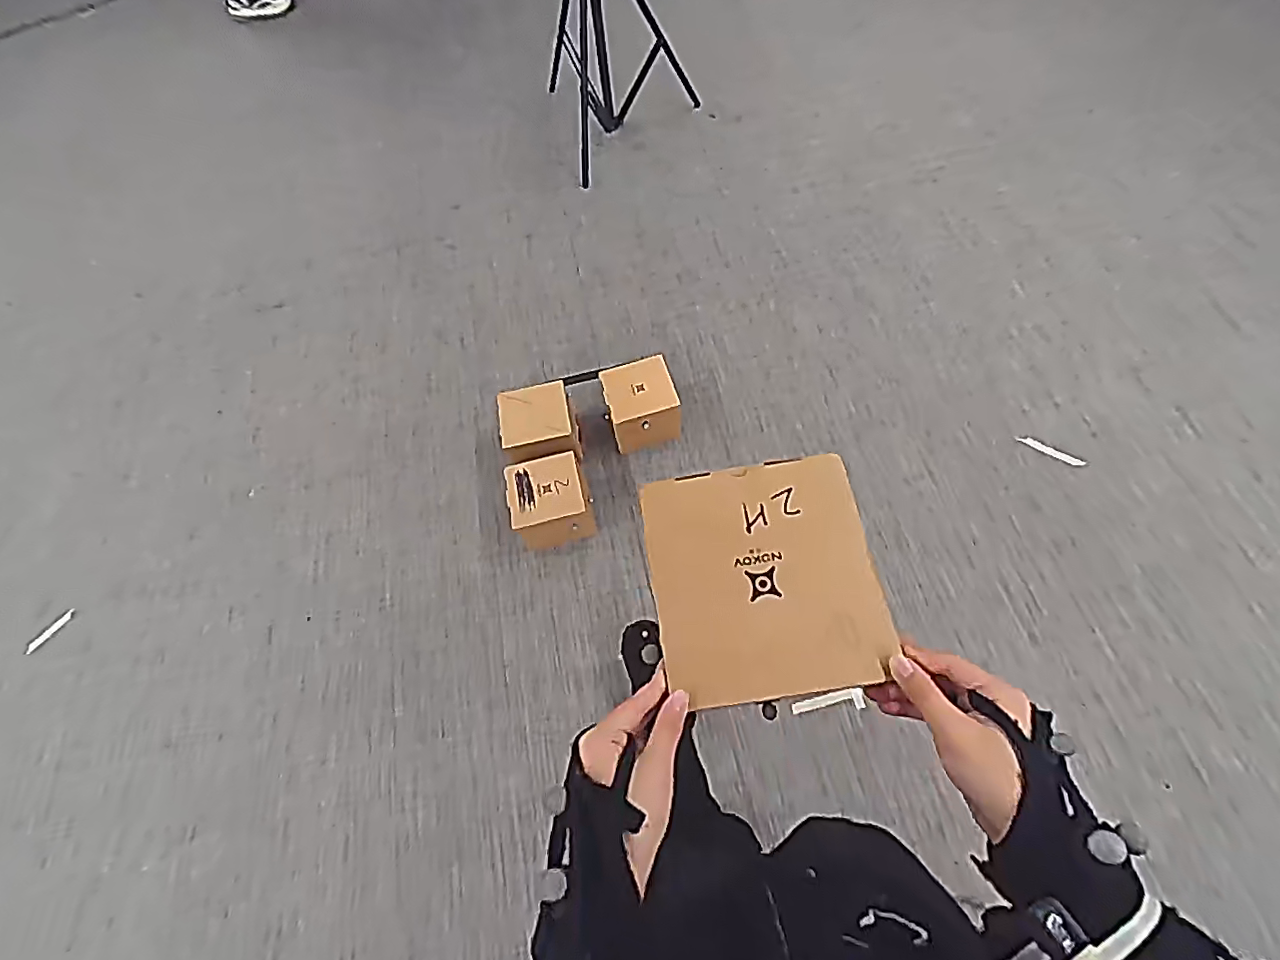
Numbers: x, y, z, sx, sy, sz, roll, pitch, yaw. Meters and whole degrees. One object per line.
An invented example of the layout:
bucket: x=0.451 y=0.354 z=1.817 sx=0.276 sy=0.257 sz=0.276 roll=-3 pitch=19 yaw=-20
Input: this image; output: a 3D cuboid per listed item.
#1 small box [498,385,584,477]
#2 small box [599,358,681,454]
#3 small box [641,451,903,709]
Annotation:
small box: x=-0.260 y=-0.131 z=1.432 sx=0.179 sy=0.176 sz=0.168 roll=-12 pitch=65 yaw=-1
small box: x=0.003 y=-0.193 z=1.444 sx=0.179 sy=0.176 sz=0.168 roll=-17 pitch=65 yaw=-2
small box: x=0.099 y=0.097 z=0.478 sx=0.168 sy=0.176 sz=0.179 roll=-9 pitch=66 yaw=2
